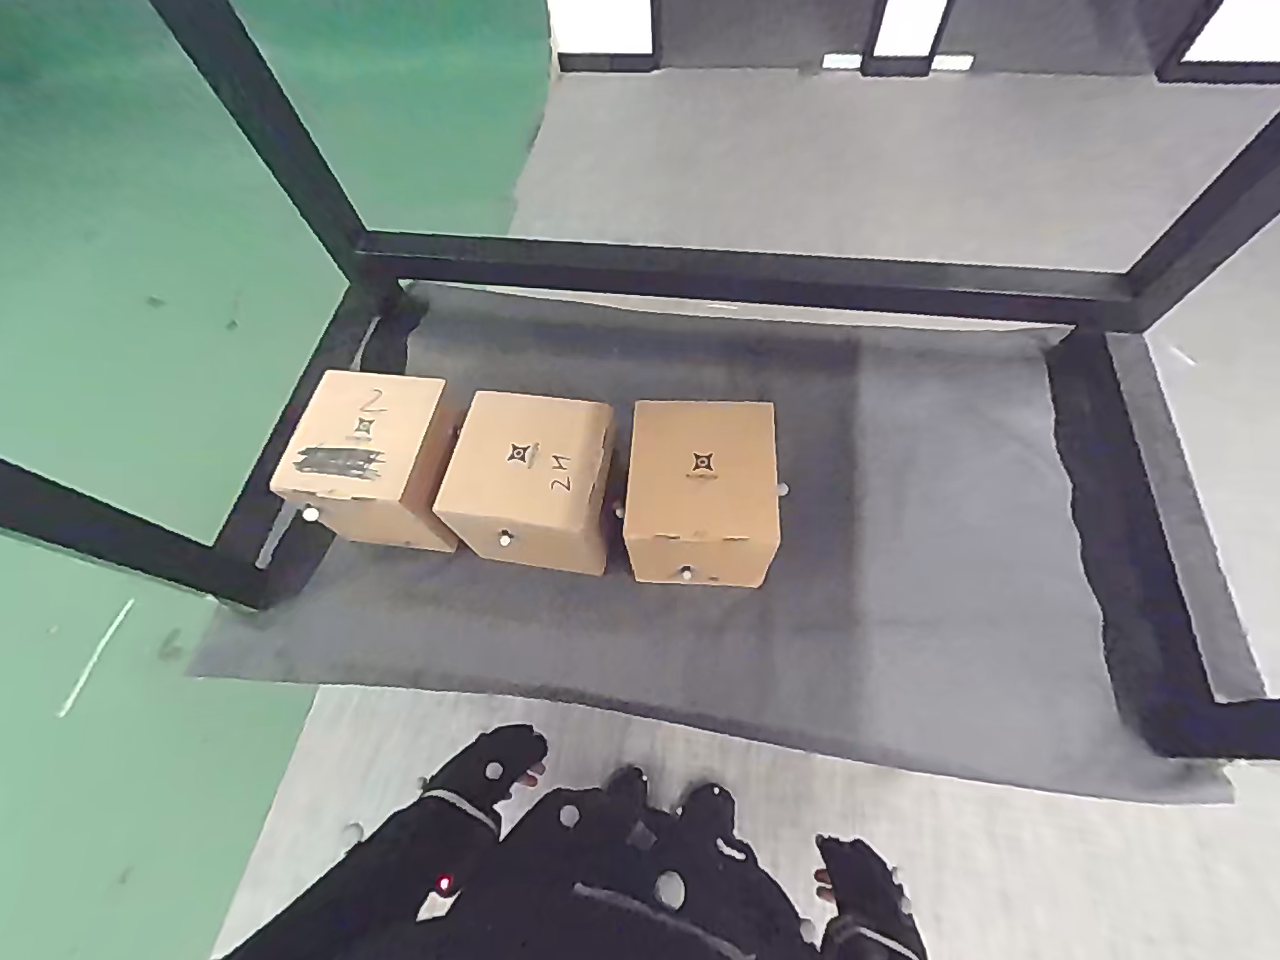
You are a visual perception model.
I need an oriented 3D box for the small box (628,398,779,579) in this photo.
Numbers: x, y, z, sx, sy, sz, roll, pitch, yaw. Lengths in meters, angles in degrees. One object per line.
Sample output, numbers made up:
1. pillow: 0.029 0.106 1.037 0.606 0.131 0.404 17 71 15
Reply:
1. small box: 0.077 0.015 0.688 0.168 0.176 0.179 1 64 5
